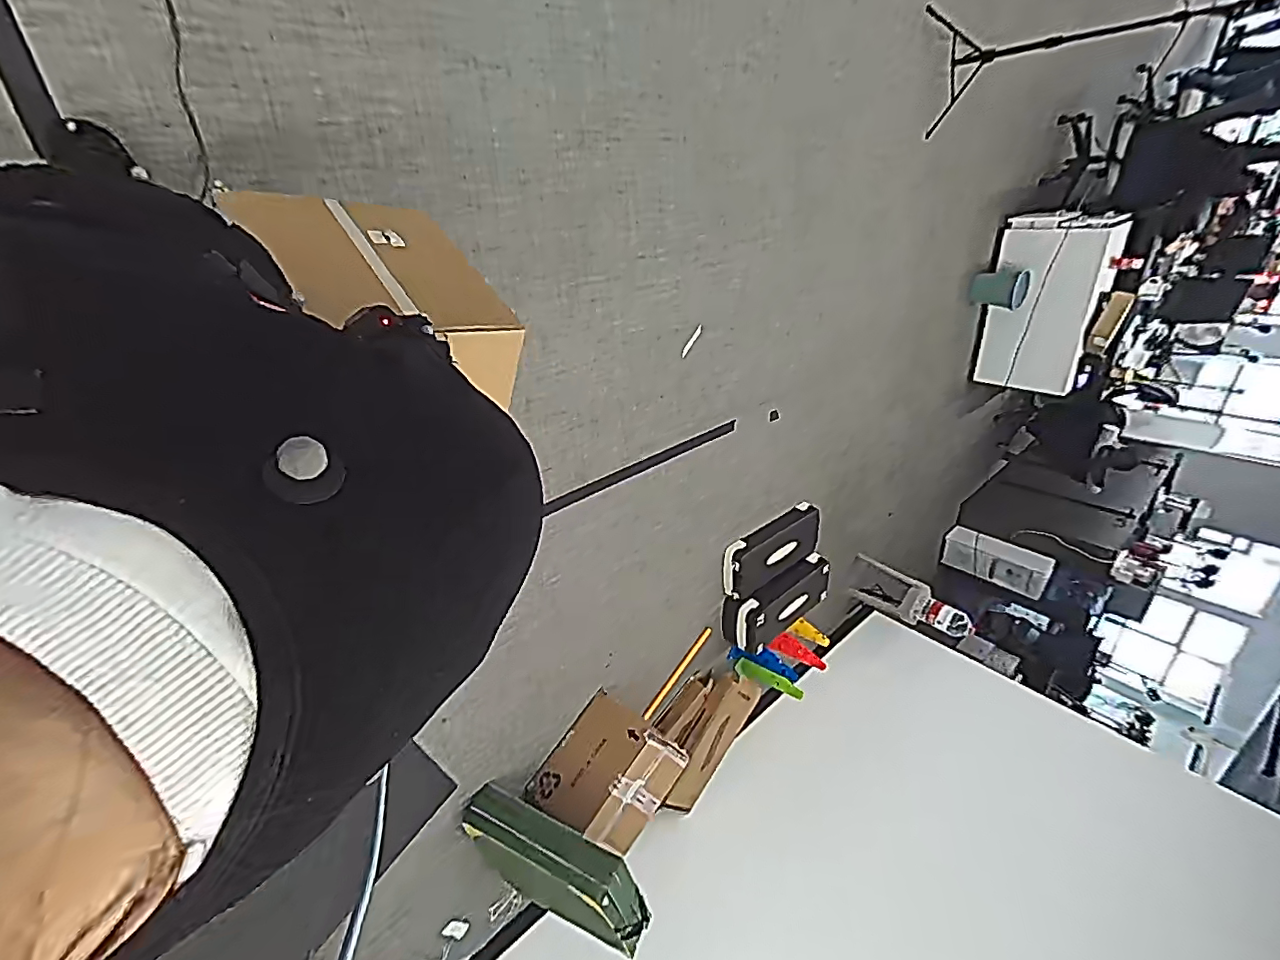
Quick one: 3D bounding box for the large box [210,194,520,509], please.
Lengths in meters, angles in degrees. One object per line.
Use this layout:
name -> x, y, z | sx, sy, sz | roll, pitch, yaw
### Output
large box -> -0.453, -0.220, 0.897 | 0.320, 0.408, 0.320 | -15, 142, -40
